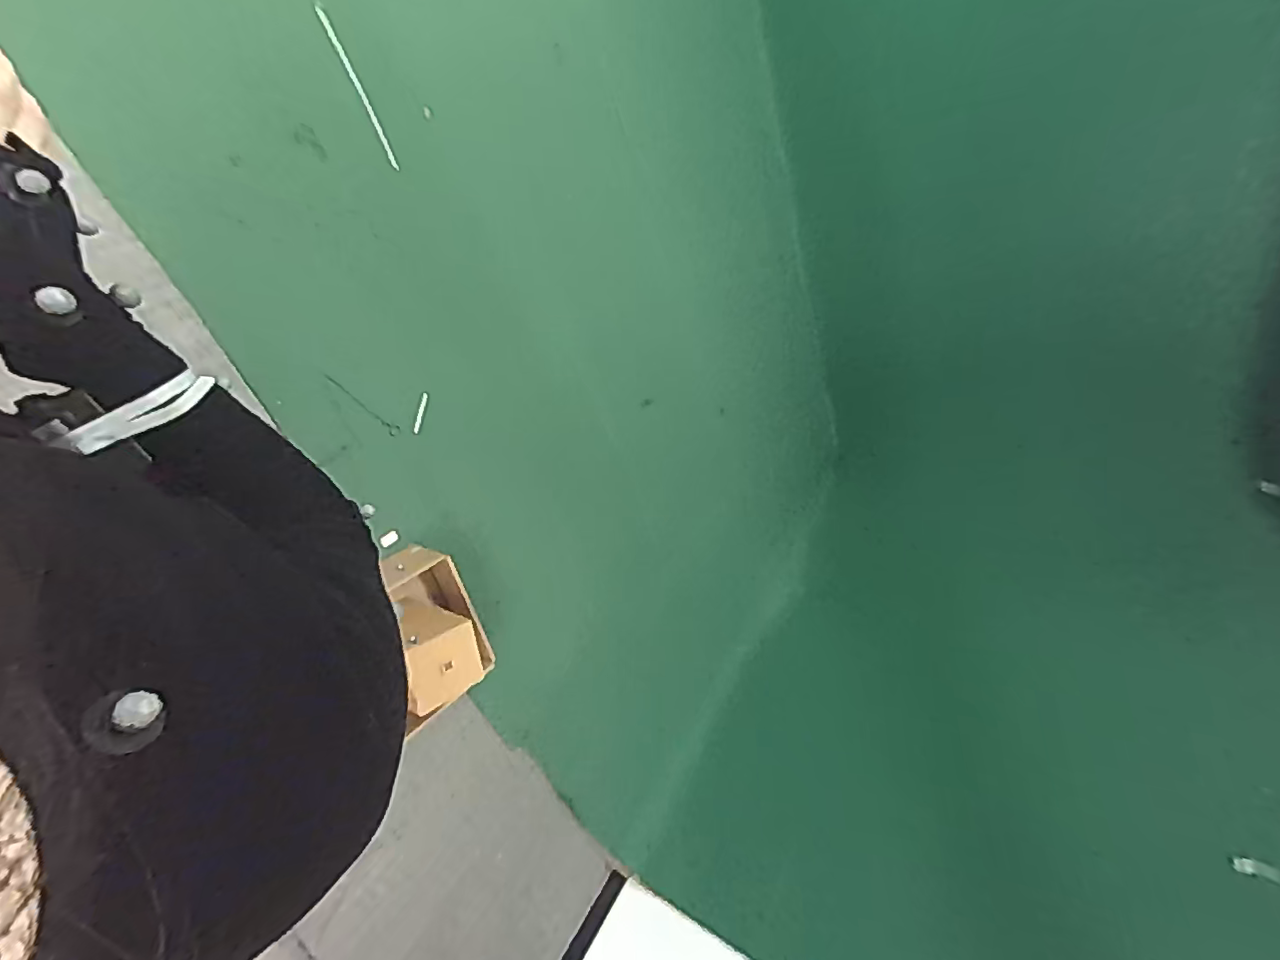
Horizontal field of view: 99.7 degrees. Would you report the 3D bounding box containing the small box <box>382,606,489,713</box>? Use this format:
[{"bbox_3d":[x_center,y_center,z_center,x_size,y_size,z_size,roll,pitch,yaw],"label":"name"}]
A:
[{"bbox_3d":[-0.506,0.433,1.339,0.179,0.176,0.168,-21,109,-43],"label":"small box"}]
